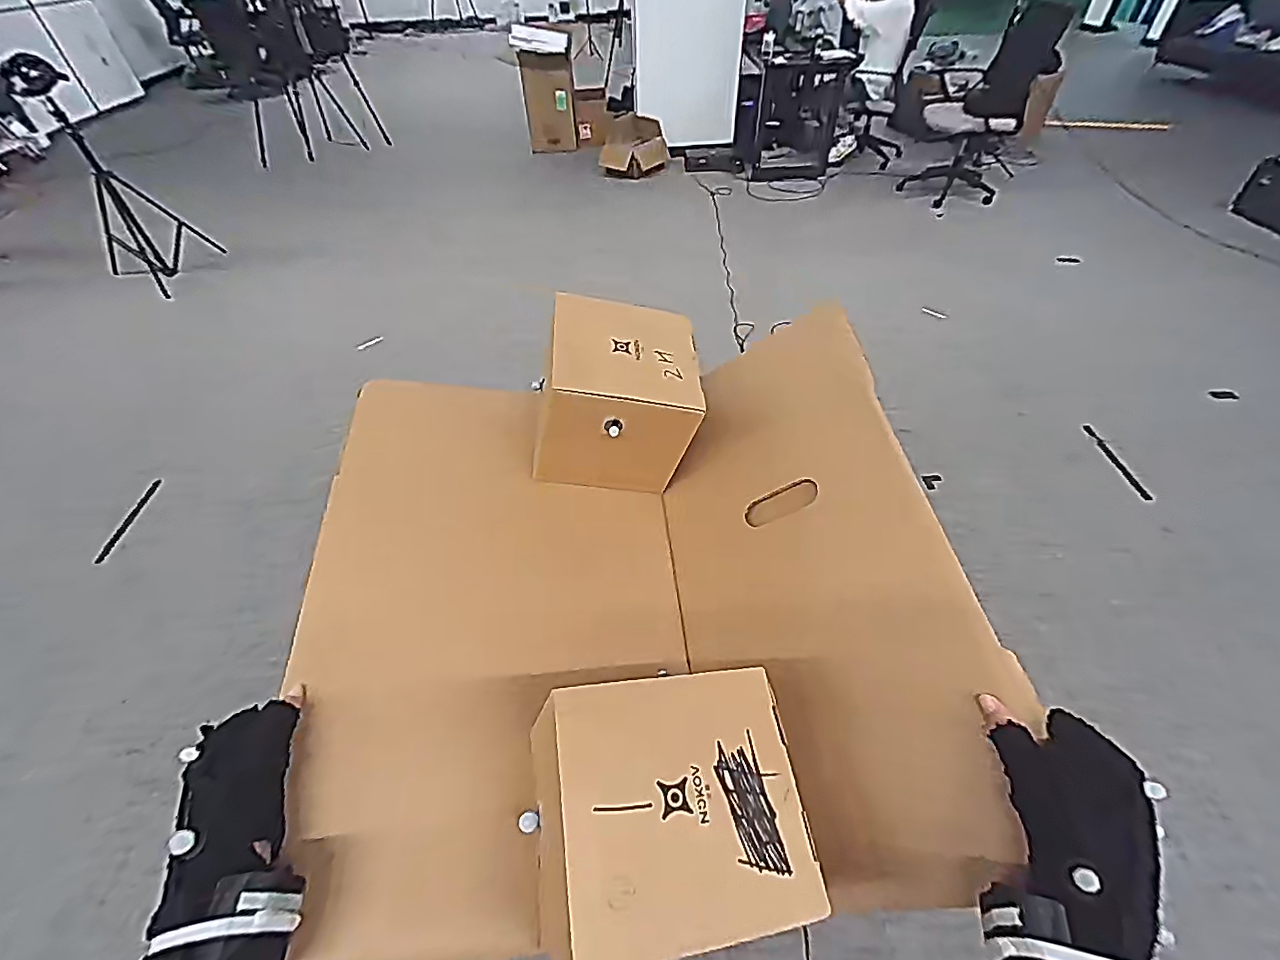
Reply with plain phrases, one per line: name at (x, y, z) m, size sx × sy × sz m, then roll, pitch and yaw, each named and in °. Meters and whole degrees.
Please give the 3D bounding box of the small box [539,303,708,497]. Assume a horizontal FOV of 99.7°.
small box at (-0.030, -0.093, 0.692) m, size 0.179 × 0.176 × 0.168 m, roll 7°, pitch 53°, yaw -14°
